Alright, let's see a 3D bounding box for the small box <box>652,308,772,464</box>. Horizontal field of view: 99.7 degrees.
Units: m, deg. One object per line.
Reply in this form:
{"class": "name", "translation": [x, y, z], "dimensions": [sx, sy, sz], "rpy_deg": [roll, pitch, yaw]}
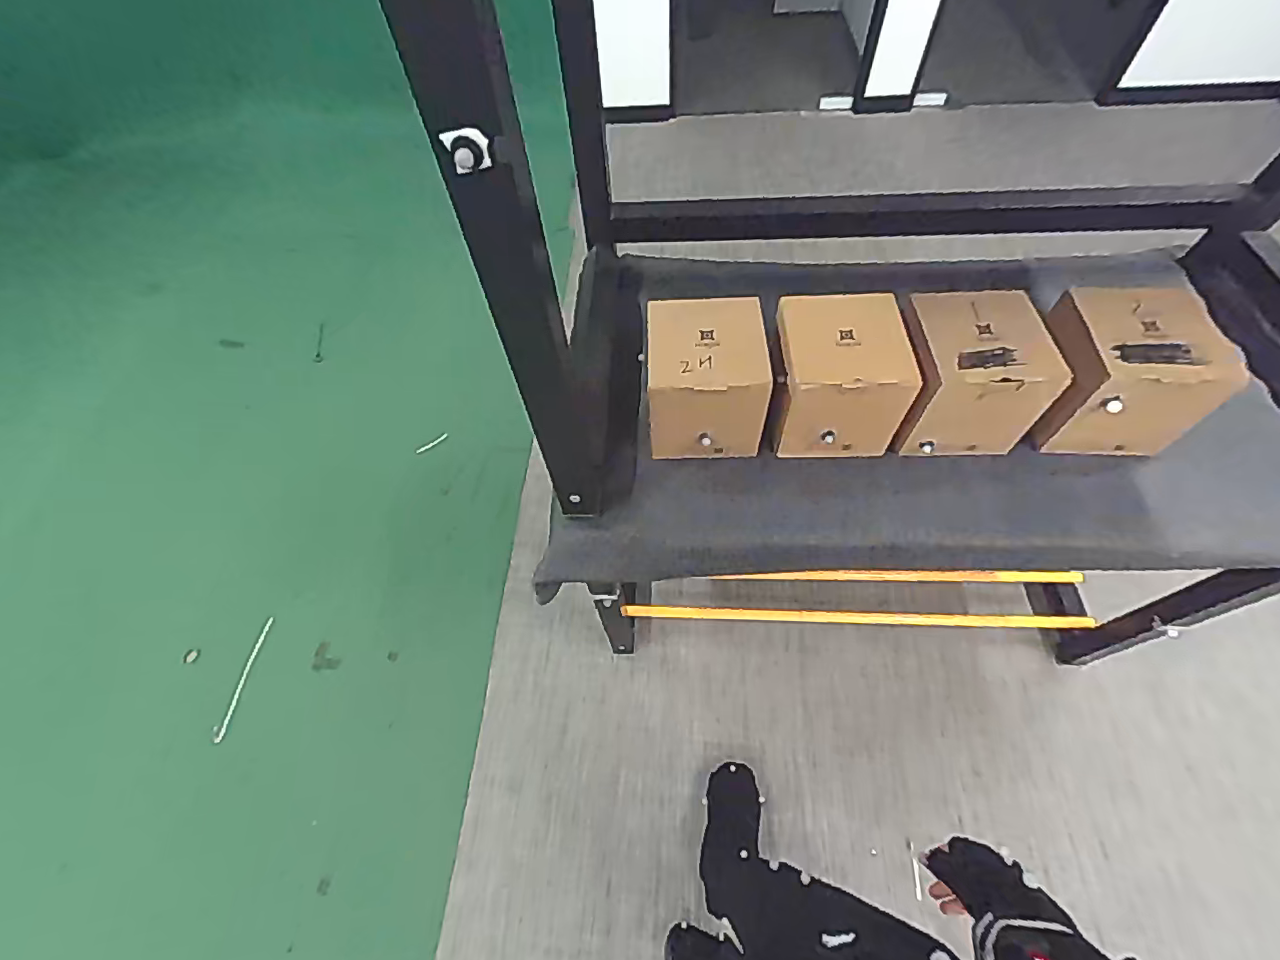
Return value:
{"class": "small box", "translation": [0.102, -0.143, 0.843], "dimensions": [0.168, 0.176, 0.179], "rpy_deg": [-2, 57, 3]}
